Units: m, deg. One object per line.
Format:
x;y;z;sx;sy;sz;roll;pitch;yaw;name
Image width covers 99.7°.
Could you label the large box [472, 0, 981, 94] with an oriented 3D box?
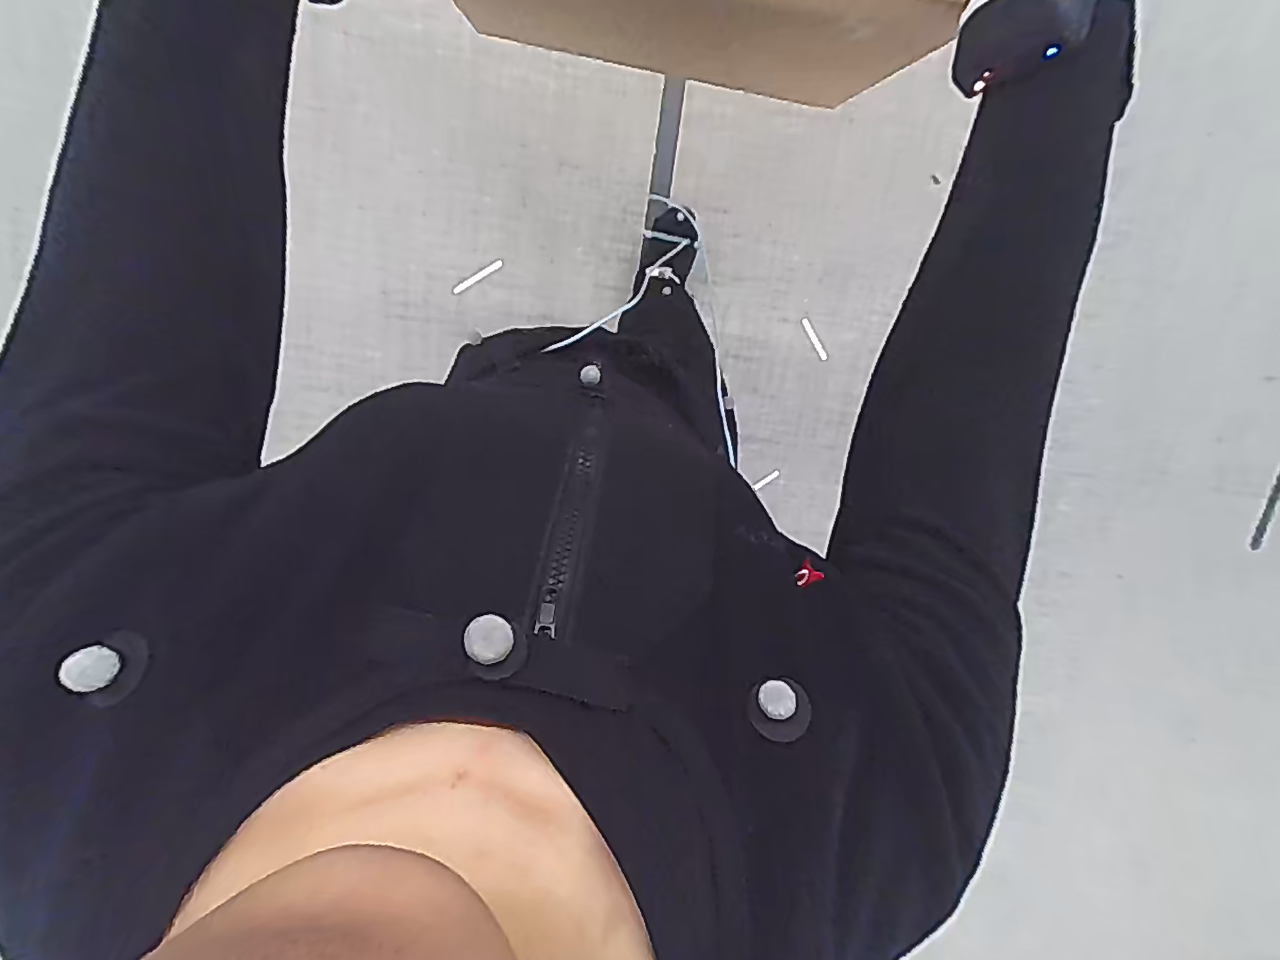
0.054;-0.535;0.402;0.408;0.320;0.320;8;116;-5;large box
